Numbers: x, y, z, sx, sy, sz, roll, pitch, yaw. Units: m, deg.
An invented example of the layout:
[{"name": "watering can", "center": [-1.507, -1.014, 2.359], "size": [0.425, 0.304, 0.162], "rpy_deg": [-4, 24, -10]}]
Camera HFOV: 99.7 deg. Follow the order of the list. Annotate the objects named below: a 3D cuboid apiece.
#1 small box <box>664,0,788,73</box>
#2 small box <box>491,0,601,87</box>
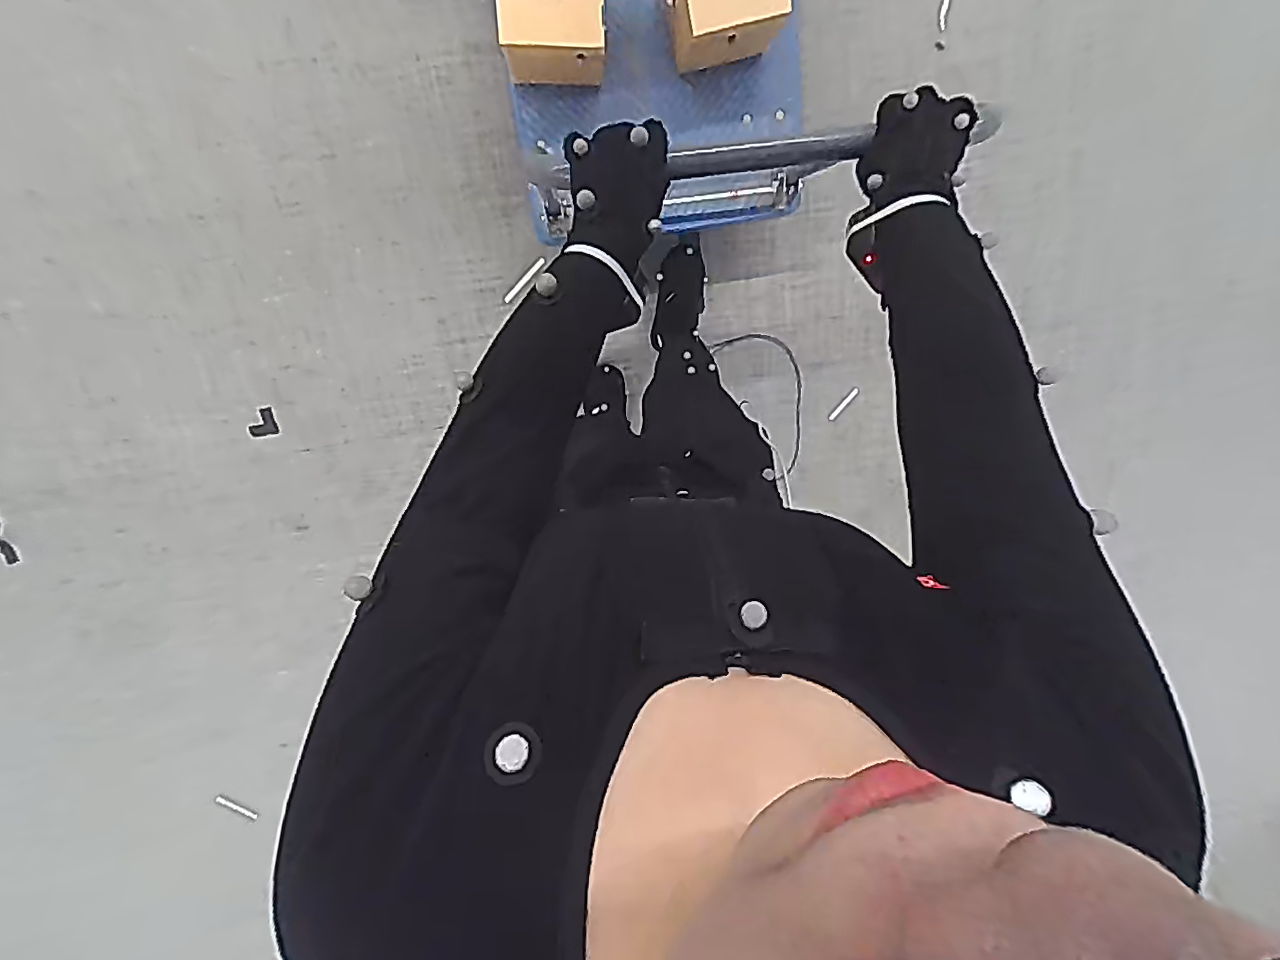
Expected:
[{"name": "small box", "center": [0.141, -0.859, 0.955], "size": [0.179, 0.176, 0.168], "rpy_deg": [-15, 110, 0]}, {"name": "small box", "center": [-0.160, -0.811, 0.942], "size": [0.179, 0.176, 0.168], "rpy_deg": [-3, 108, -6]}]
